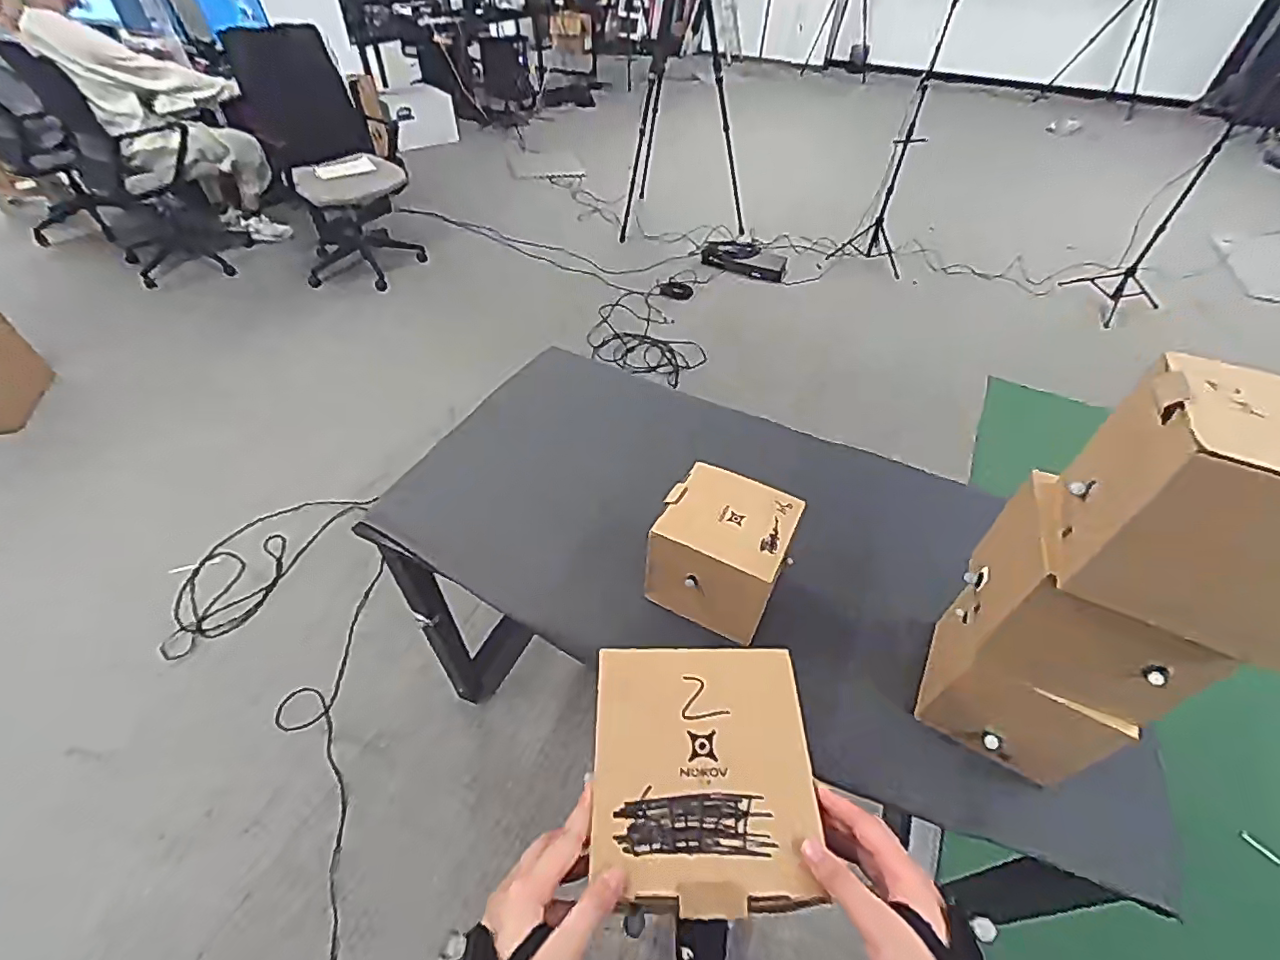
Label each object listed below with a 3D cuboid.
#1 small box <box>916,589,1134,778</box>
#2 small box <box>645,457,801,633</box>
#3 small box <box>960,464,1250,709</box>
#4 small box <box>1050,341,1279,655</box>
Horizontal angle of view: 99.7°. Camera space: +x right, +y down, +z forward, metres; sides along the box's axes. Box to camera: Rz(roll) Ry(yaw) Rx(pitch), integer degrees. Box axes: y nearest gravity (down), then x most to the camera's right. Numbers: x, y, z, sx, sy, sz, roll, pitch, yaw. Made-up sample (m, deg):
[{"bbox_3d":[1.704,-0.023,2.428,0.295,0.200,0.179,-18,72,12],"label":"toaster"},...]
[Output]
[{"bbox_3d":[0.479,0.235,0.691,0.168,0.176,0.179,25,49,21],"label":"small box"},{"bbox_3d":[0.117,0.099,0.810,0.179,0.176,0.168,22,48,19],"label":"small box"},{"bbox_3d":[0.475,0.116,0.580,0.179,0.176,0.168,18,45,16],"label":"small box"},{"bbox_3d":[0.484,0.015,0.447,0.179,0.176,0.168,22,46,19],"label":"small box"}]
